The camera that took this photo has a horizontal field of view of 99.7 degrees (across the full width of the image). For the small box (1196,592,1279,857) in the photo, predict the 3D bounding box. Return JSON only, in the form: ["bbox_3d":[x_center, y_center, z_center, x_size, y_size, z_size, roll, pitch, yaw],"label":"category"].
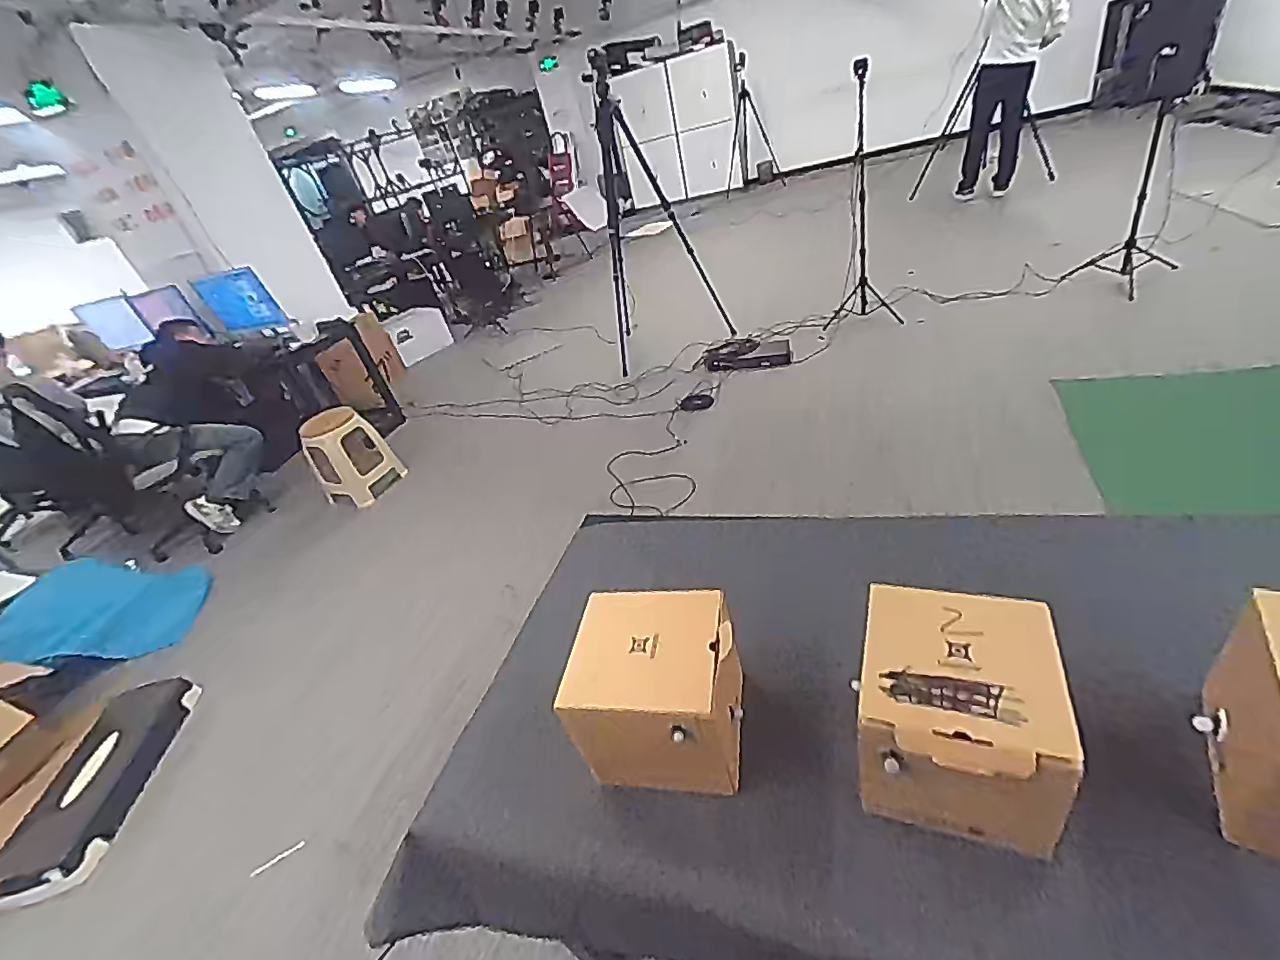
[{"bbox_3d":[0.622,0.228,0.454,0.179,0.176,0.168,9,40,34],"label":"small box"}]
